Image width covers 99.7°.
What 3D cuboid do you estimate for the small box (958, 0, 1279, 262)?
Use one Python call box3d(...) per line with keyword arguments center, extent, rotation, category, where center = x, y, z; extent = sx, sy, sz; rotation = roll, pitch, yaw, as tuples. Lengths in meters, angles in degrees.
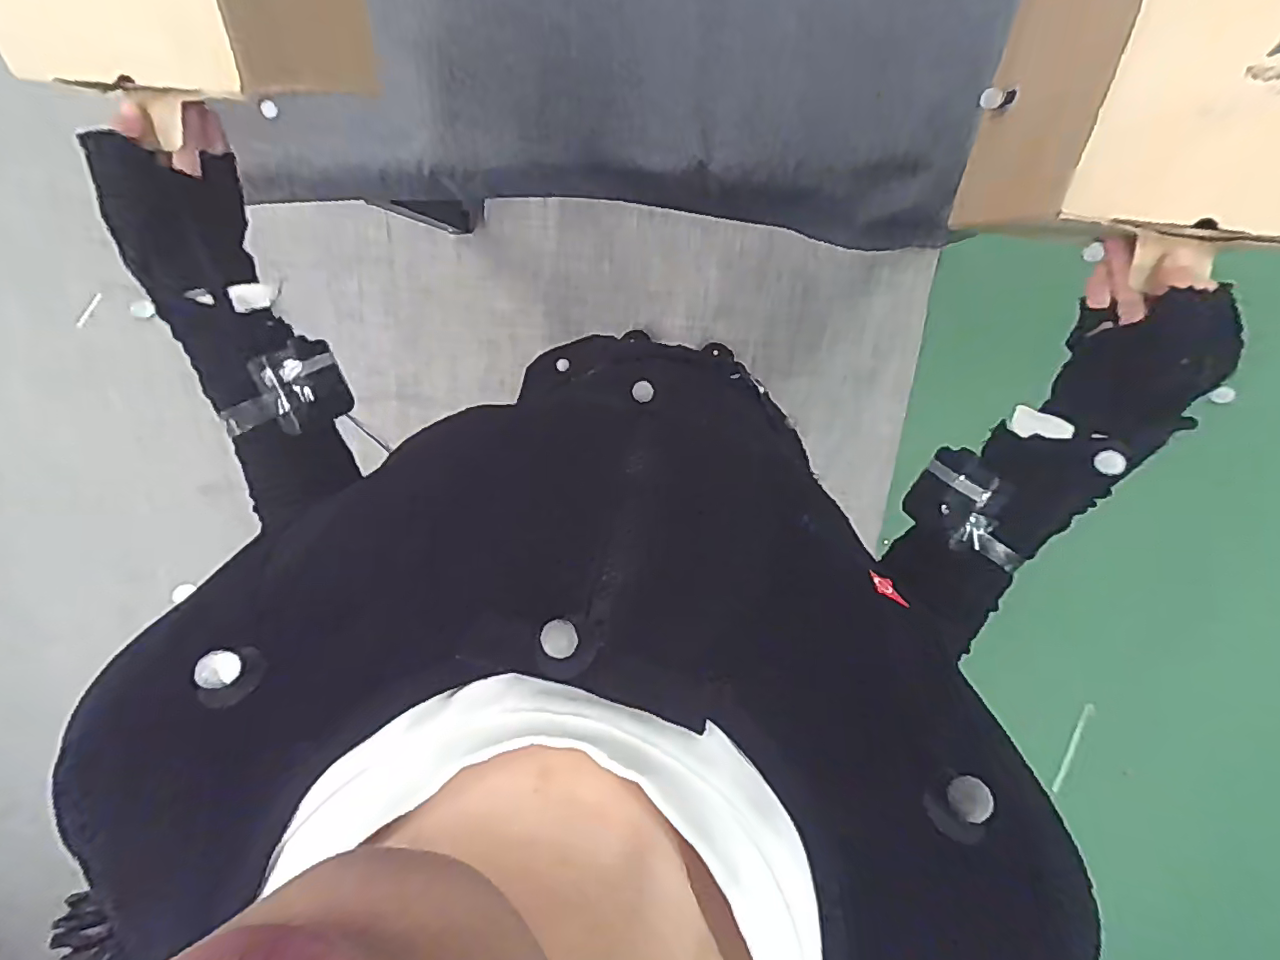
box3d(center=(0.345, -0.250, 0.358), extent=(0.168, 0.176, 0.179), rotation=(9, 114, 3), category="small box")
